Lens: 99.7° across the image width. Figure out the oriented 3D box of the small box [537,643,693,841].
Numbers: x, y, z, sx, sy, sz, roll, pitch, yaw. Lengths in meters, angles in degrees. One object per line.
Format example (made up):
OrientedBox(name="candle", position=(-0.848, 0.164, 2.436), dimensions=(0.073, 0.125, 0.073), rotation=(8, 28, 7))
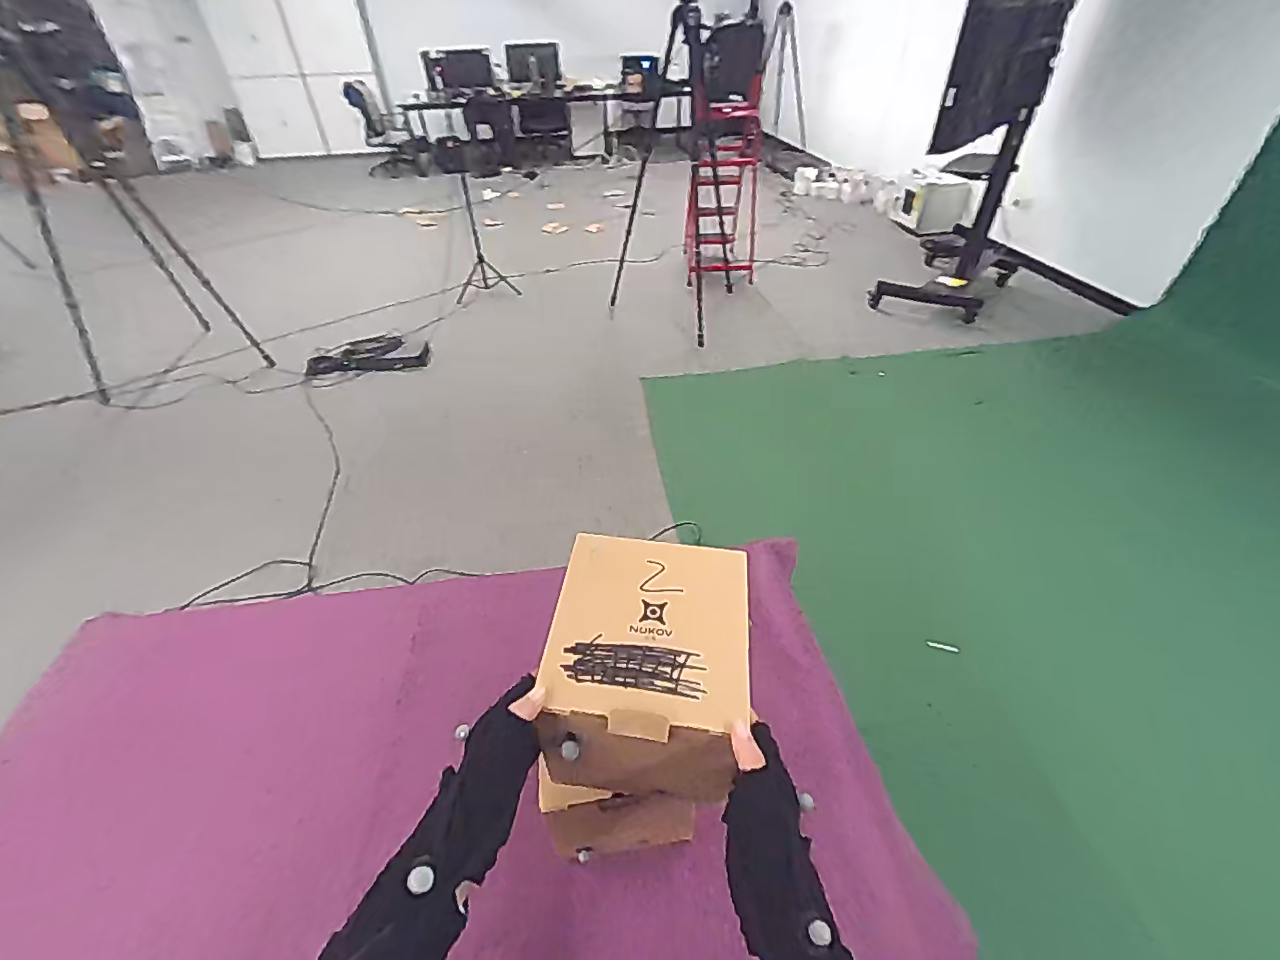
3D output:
OrientedBox(name="small box", position=(-0.029, 0.326, 0.669), dimensions=(0.168, 0.176, 0.179), rotation=(-2, 42, -3))
